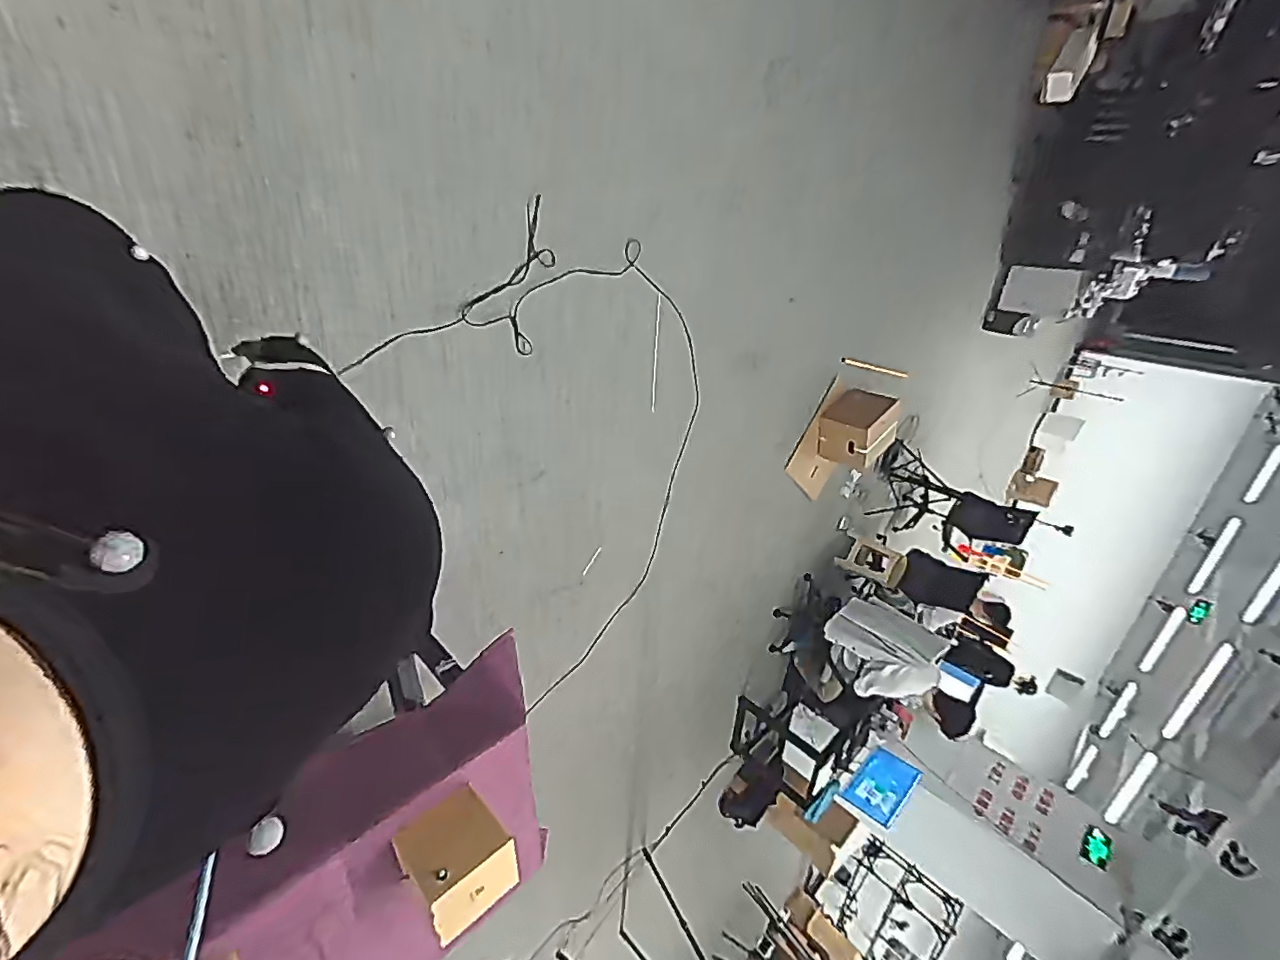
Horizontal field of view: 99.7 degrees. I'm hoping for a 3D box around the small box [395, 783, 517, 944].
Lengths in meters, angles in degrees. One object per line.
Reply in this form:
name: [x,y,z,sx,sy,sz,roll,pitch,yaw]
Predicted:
small box: [-0.378,0.780,1.120,0.179,0.176,0.168,-23,127,-38]
